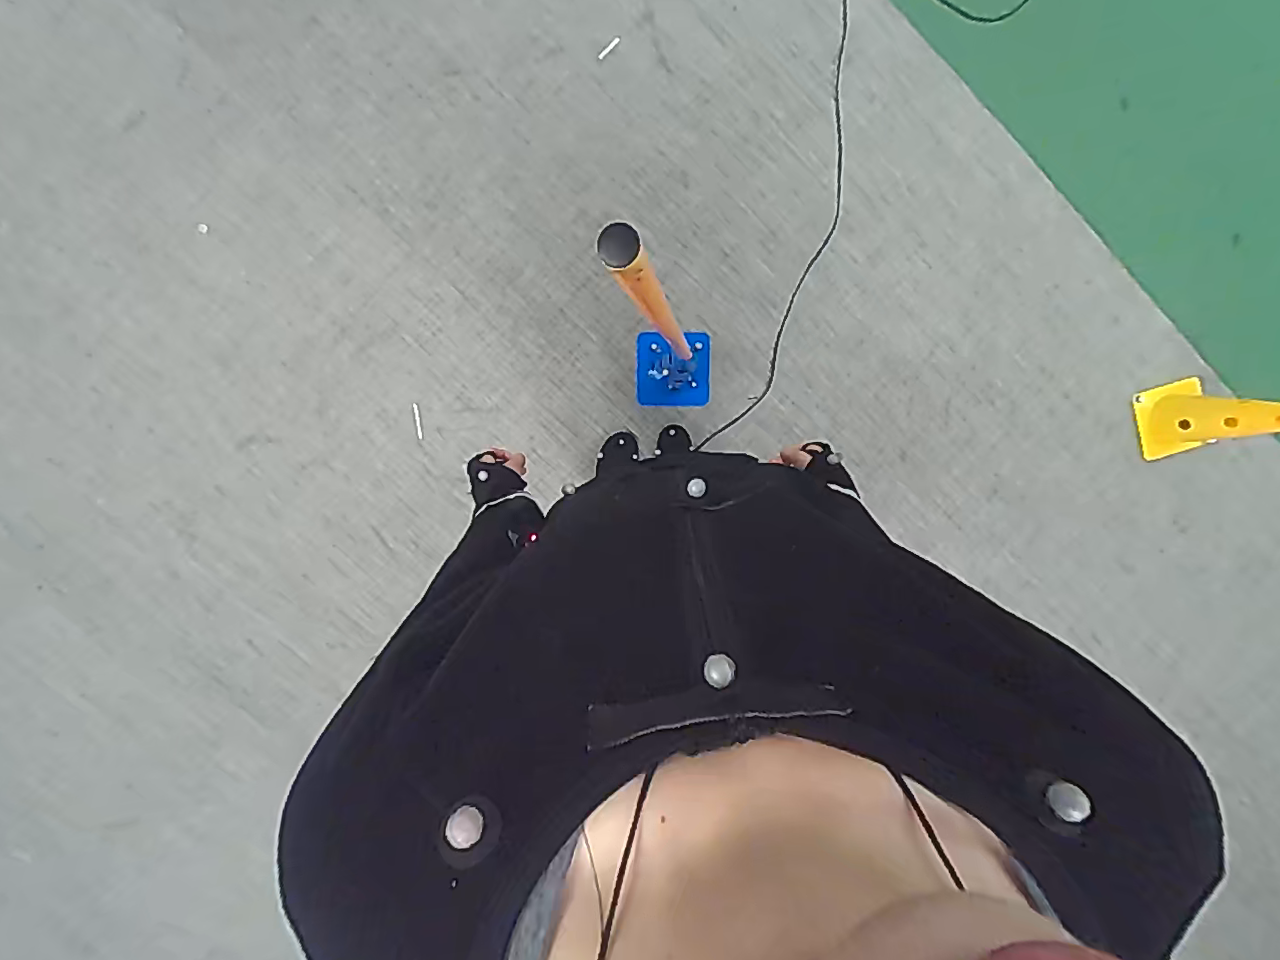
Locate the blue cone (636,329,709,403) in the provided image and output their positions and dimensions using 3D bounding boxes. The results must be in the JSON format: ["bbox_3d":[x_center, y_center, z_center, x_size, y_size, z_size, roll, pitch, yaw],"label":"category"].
[{"bbox_3d":[0.088,-0.285,1.288,0.193,0.380,0.192,-1,97,0],"label":"blue cone"}]
